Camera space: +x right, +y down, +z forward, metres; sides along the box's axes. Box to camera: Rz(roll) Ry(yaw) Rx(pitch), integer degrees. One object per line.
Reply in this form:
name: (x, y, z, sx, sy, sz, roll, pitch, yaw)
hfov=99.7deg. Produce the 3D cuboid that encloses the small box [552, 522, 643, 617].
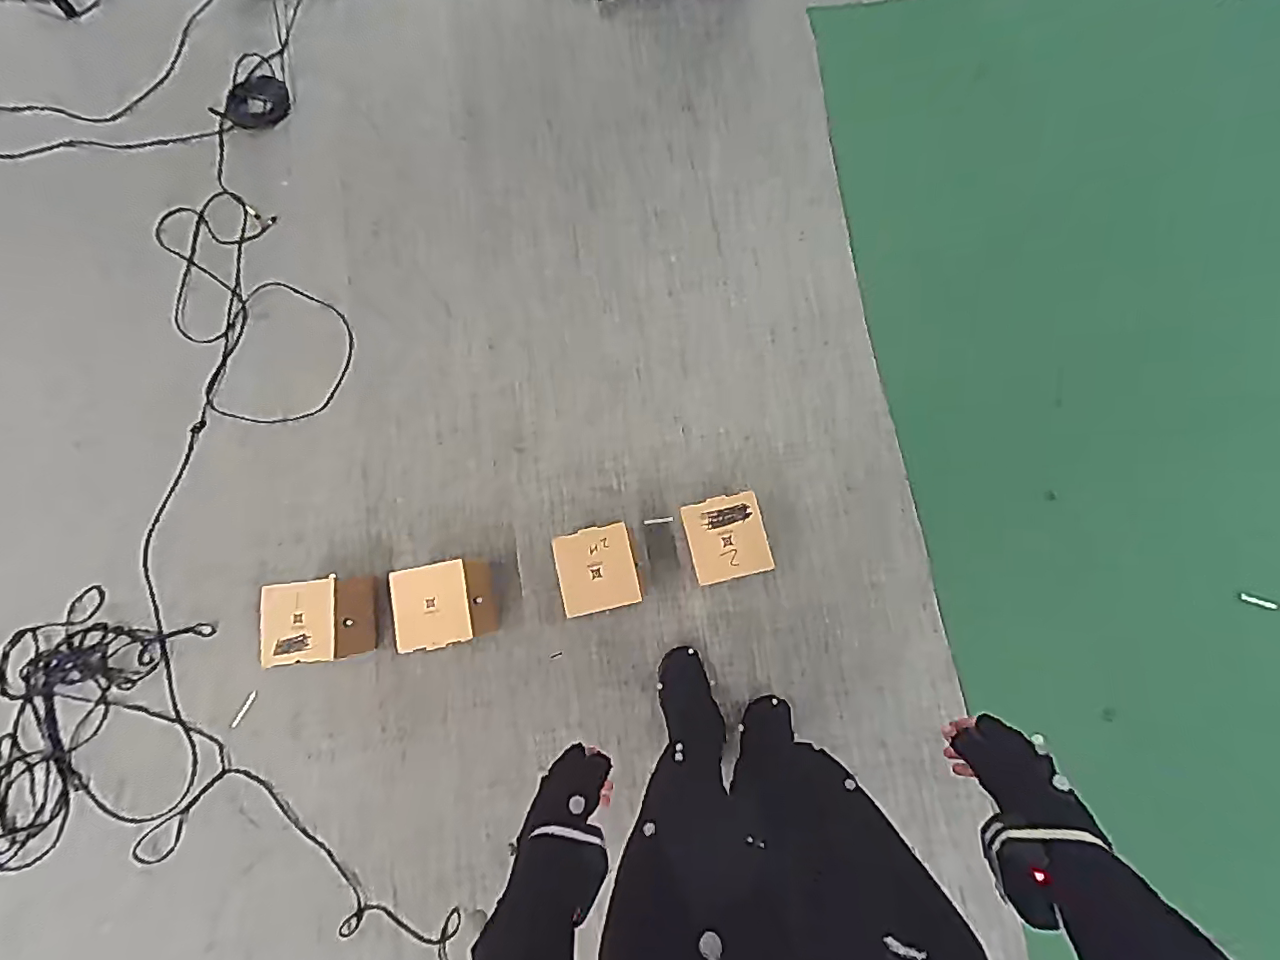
small box: (-0.091, 0.202, 1.234, 0.168, 0.176, 0.179, -13, 80, 0)

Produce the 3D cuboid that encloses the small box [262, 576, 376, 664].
small box: (-0.731, 0.316, 1.249, 0.168, 0.176, 0.179, -6, 79, 2)

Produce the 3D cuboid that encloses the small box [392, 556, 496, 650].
small box: (-0.443, 0.278, 1.241, 0.168, 0.176, 0.179, -12, 81, 1)
